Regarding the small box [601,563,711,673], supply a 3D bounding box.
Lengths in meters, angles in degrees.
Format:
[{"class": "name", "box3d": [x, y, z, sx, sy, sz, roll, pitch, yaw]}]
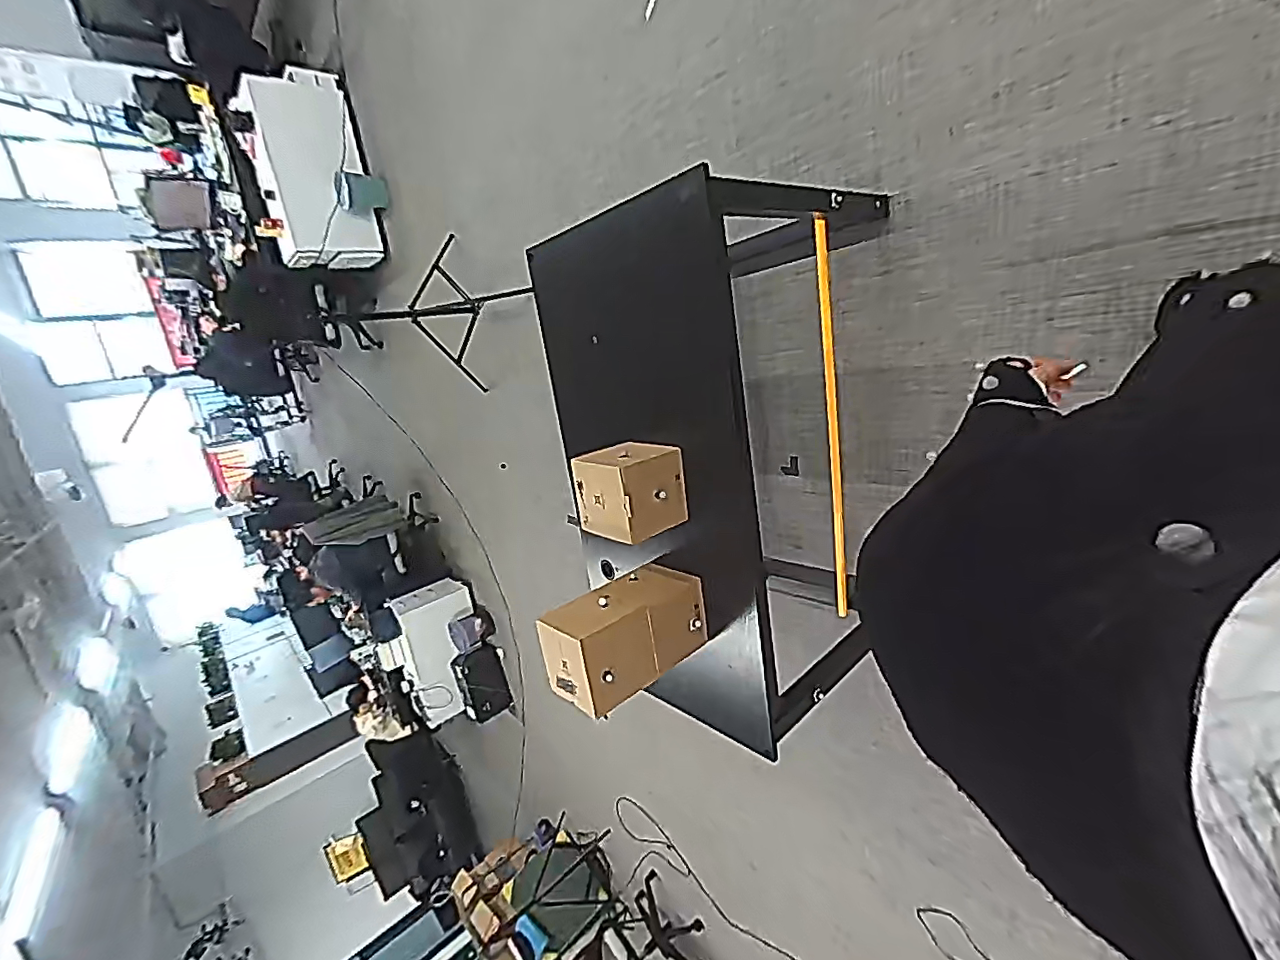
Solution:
[{"class": "small box", "box3d": [0.036, 0.303, 1.236, 0.179, 0.176, 0.168, 7, 112, 48]}]

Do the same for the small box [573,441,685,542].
[{"class": "small box", "box3d": [-0.016, 0.016, 1.171, 0.179, 0.176, 0.168, 10, 114, 48]}]

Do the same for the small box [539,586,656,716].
[{"class": "small box", "box3d": [-0.085, 0.348, 1.134, 0.168, 0.176, 0.179, 6, 110, 49]}]
